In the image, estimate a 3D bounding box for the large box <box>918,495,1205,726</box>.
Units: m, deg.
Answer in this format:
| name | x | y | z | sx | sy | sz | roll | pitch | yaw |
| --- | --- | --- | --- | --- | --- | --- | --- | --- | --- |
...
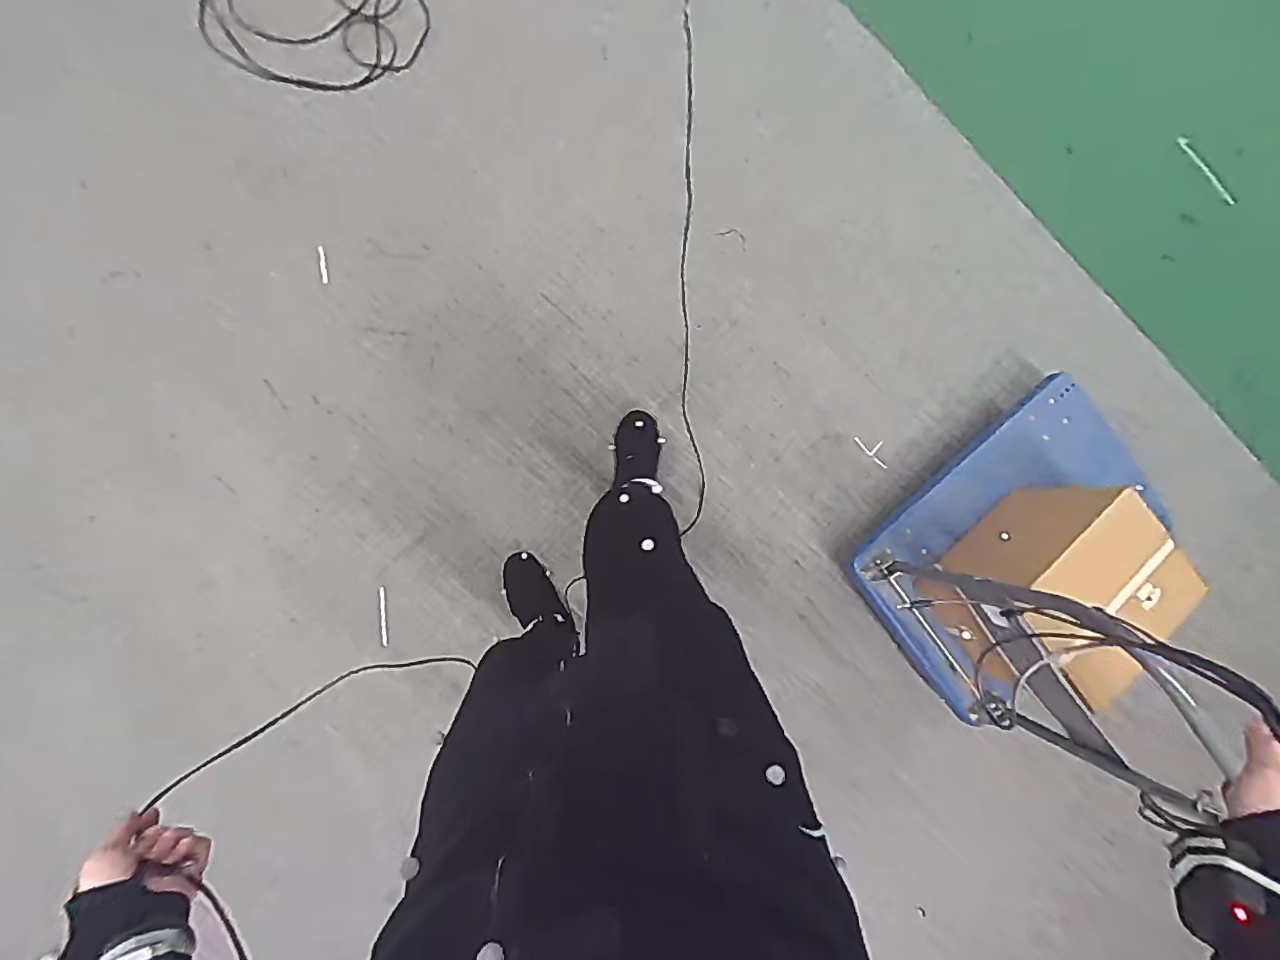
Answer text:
| name | x | y | z | sx | sy | sz | roll | pitch | yaw |
| --- | --- | --- | --- | --- | --- | --- | --- | --- | --- |
| large box | 0.975 | 0.284 | 1.291 | 0.408 | 0.320 | 0.320 | -39 | 94 | -11 |
